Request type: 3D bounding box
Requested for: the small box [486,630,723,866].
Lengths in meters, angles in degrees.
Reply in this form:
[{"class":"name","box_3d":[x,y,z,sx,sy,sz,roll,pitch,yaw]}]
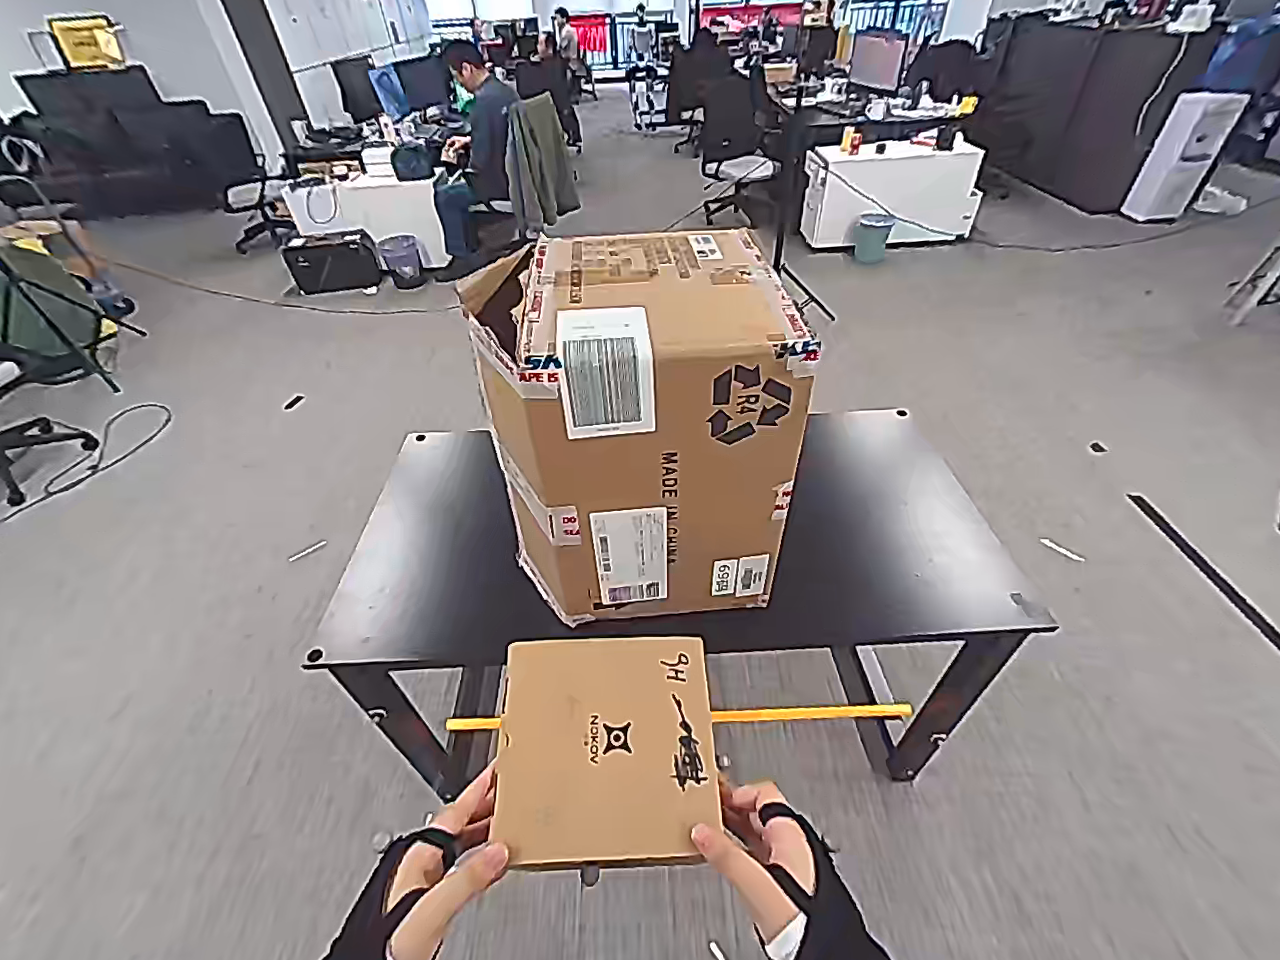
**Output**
[{"class":"small box","box_3d":[-0.027,0.252,0.501,0.179,0.176,0.168,-1,52,-1]}]
